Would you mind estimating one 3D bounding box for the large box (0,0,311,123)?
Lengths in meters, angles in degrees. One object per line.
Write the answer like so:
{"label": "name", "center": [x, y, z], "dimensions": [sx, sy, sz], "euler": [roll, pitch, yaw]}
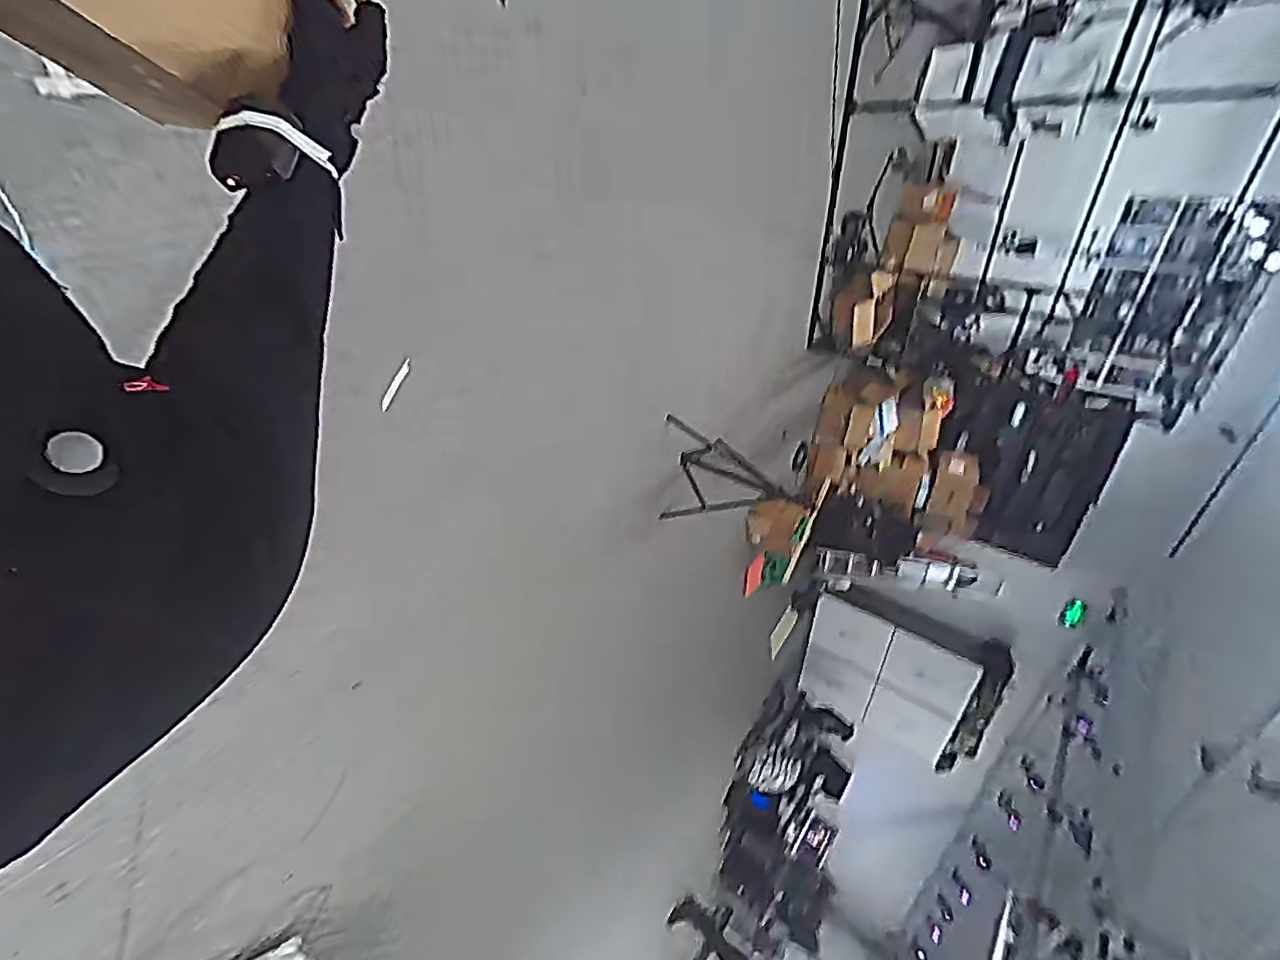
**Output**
{"label": "large box", "center": [-0.487, -0.537, 0.374], "dimensions": [0.408, 0.320, 0.320], "euler": [18, 99, -60]}
